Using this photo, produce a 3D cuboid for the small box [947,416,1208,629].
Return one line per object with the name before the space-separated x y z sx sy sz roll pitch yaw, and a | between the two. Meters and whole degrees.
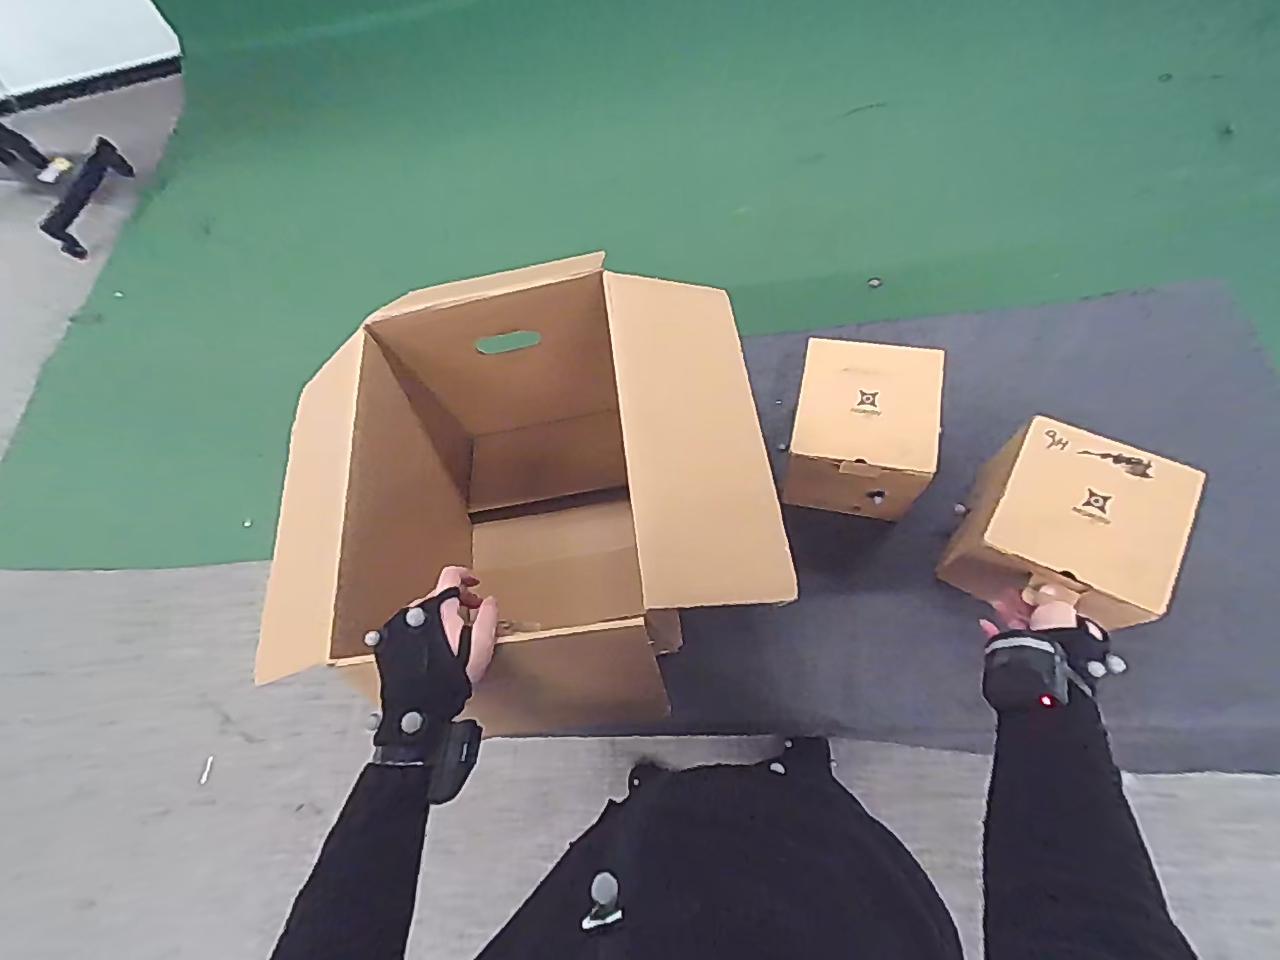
small box | 0.500 0.060 0.650 0.168 0.176 0.179 28 76 20
